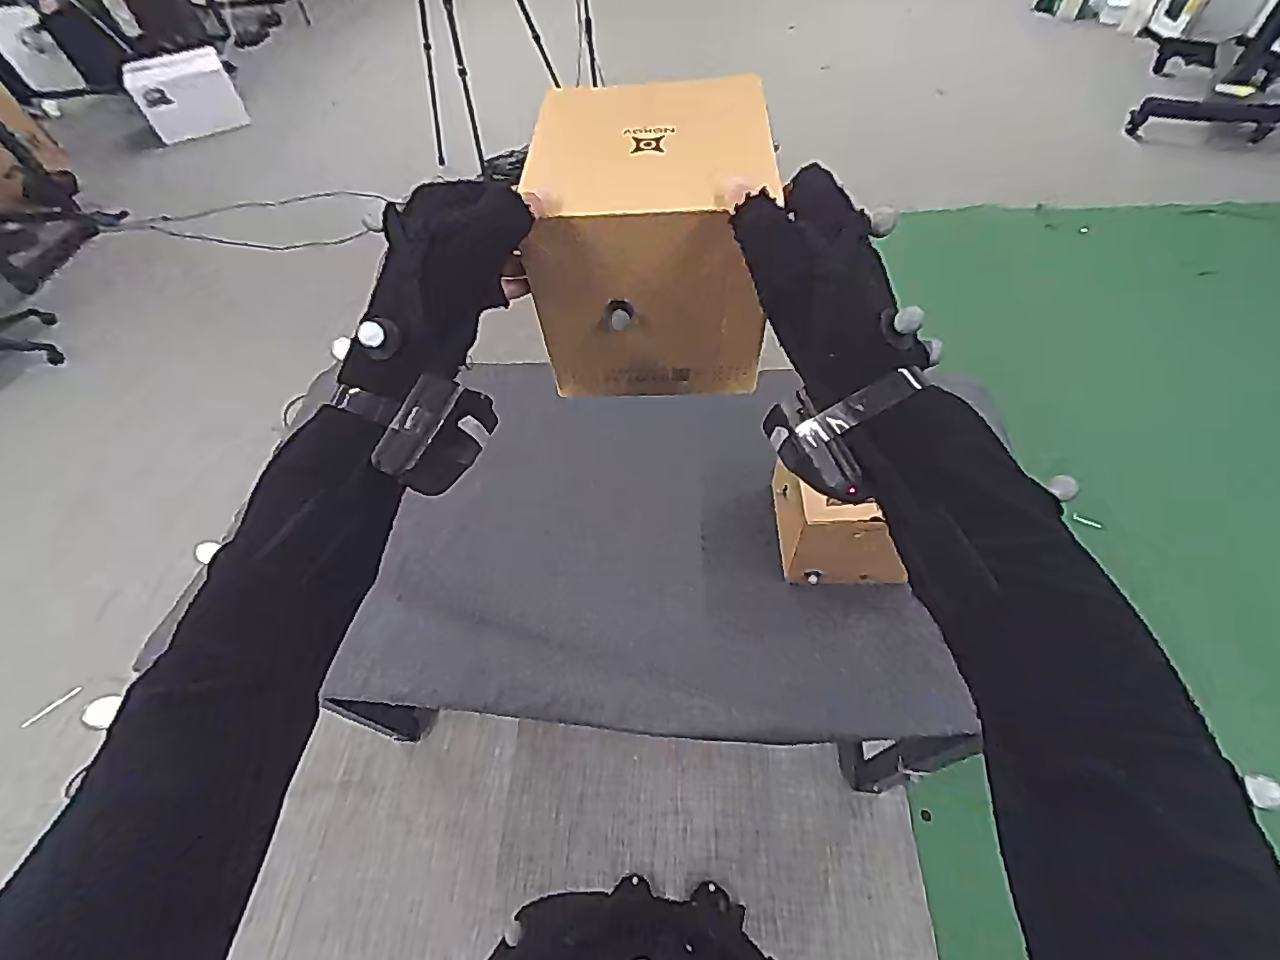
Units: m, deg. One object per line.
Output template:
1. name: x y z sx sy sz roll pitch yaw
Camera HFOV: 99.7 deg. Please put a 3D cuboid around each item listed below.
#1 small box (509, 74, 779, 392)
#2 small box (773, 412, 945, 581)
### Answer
1. small box: 0.010 -0.183 0.429 0.168 0.176 0.179 -1 57 4
2. small box: 0.282 0.028 0.742 0.168 0.176 0.179 -1 53 4
